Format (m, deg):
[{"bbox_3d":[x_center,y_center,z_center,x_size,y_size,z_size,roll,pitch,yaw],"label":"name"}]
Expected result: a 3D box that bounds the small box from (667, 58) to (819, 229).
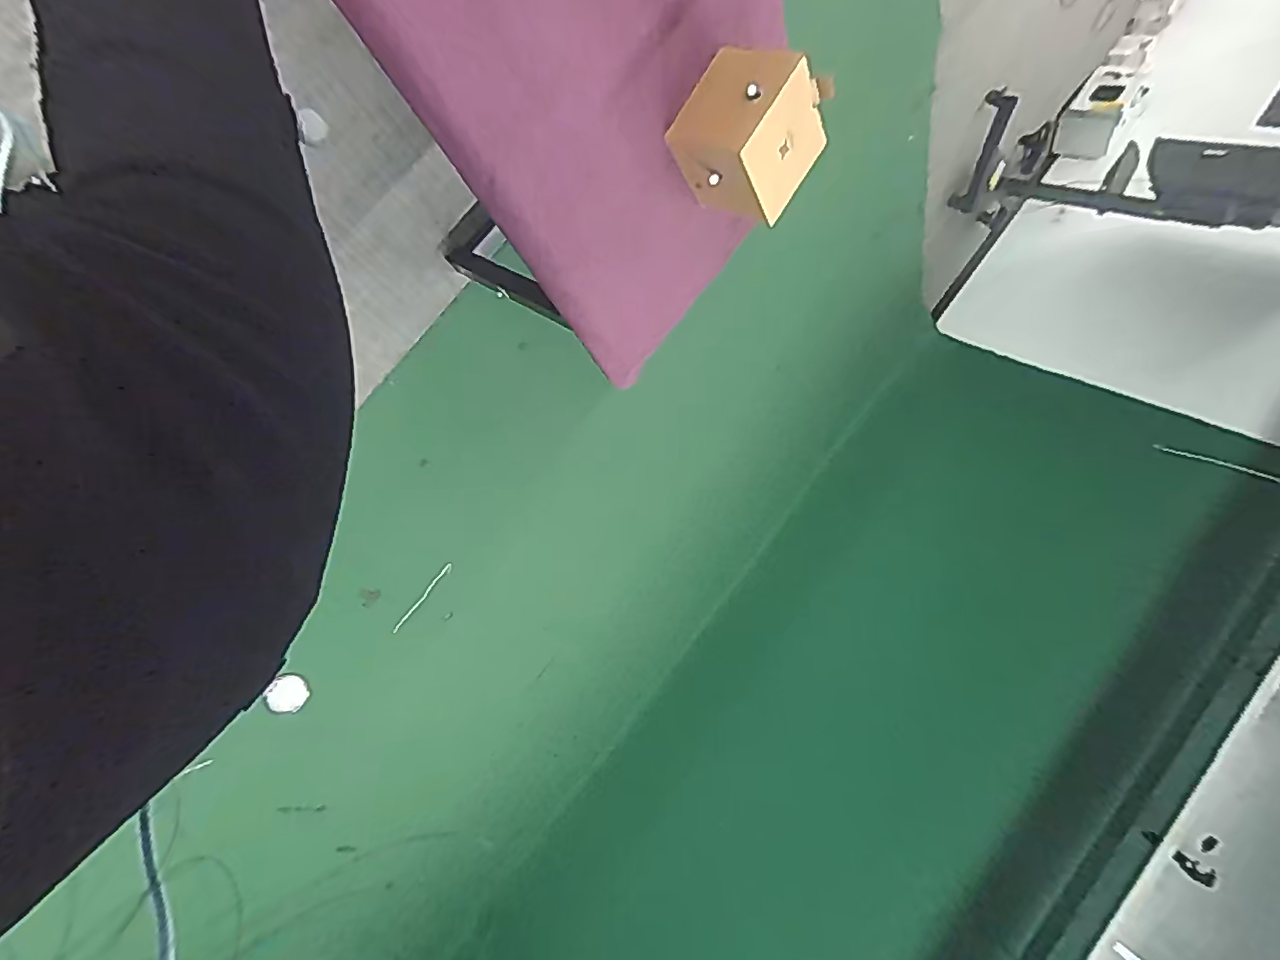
[{"bbox_3d":[0.167,-0.563,0.909,0.179,0.176,0.168,-57,146,1],"label":"small box"}]
